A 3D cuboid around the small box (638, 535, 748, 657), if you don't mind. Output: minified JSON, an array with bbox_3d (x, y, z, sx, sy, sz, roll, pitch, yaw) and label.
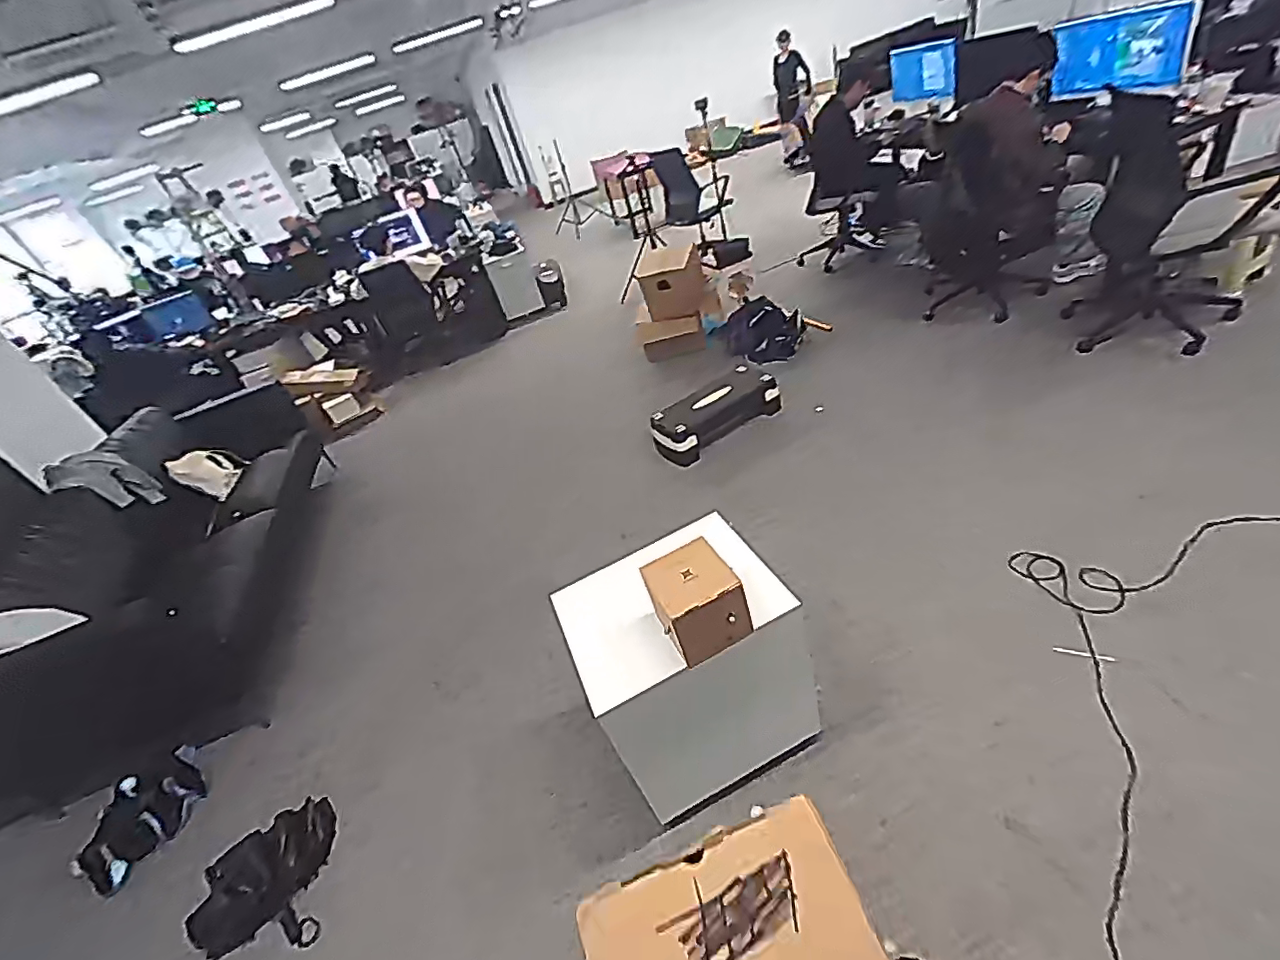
[{"bbox_3d":[0.119,0.259,1.186,0.168,0.176,0.179,-25,34,-11],"label":"small box"}]

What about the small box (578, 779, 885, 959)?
[{"bbox_3d":[0.074,0.341,0.373,0.168,0.176,0.179,-22,53,-3],"label":"small box"}]
